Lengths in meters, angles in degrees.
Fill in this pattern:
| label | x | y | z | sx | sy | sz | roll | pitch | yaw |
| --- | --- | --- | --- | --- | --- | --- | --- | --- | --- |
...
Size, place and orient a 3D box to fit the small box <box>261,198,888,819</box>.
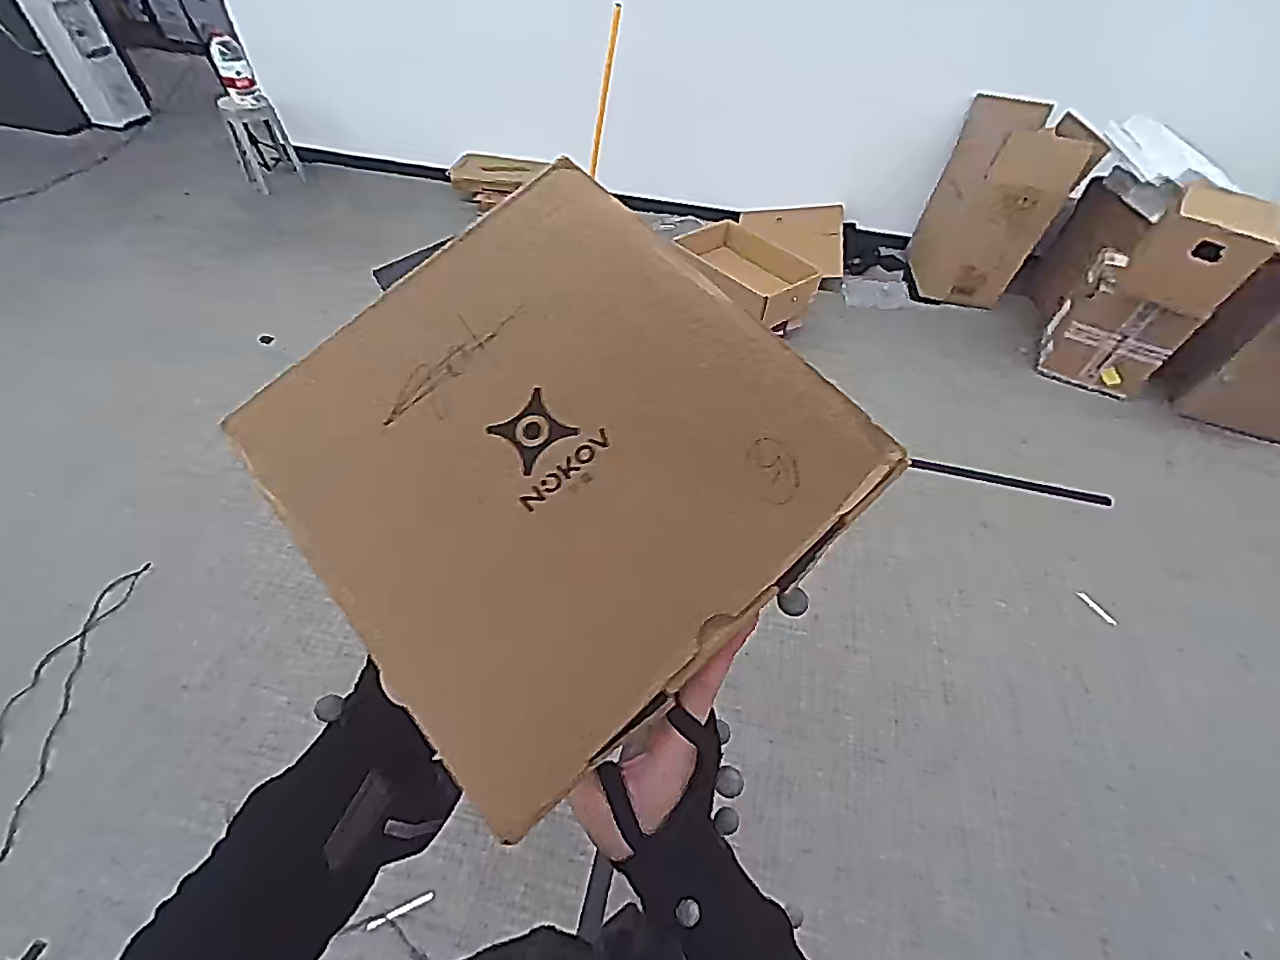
| label | x | y | z | sx | sy | sz | roll | pitch | yaw |
| --- | --- | --- | --- | --- | --- | --- | --- | --- | --- |
| small box | -0.023 | 0.015 | 0.271 | 0.168 | 0.176 | 0.179 | -42 | 73 | -8 |
